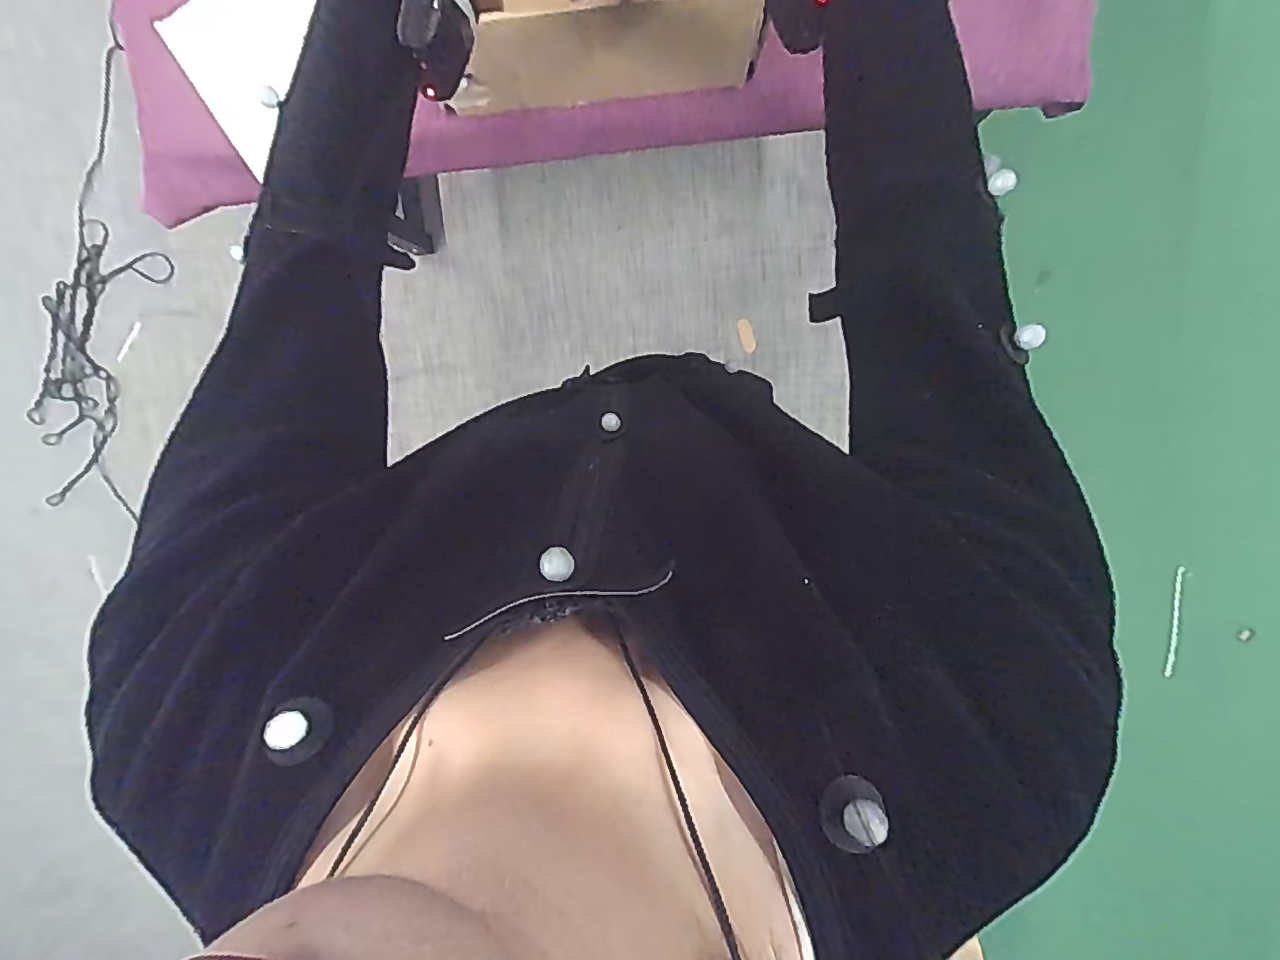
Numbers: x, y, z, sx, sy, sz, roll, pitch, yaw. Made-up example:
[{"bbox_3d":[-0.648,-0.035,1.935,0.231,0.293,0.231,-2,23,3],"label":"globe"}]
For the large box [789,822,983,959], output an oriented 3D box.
[{"bbox_3d":[0.679,1.243,1.510,0.408,0.320,0.320,-18,99,6],"label":"large box"}]
